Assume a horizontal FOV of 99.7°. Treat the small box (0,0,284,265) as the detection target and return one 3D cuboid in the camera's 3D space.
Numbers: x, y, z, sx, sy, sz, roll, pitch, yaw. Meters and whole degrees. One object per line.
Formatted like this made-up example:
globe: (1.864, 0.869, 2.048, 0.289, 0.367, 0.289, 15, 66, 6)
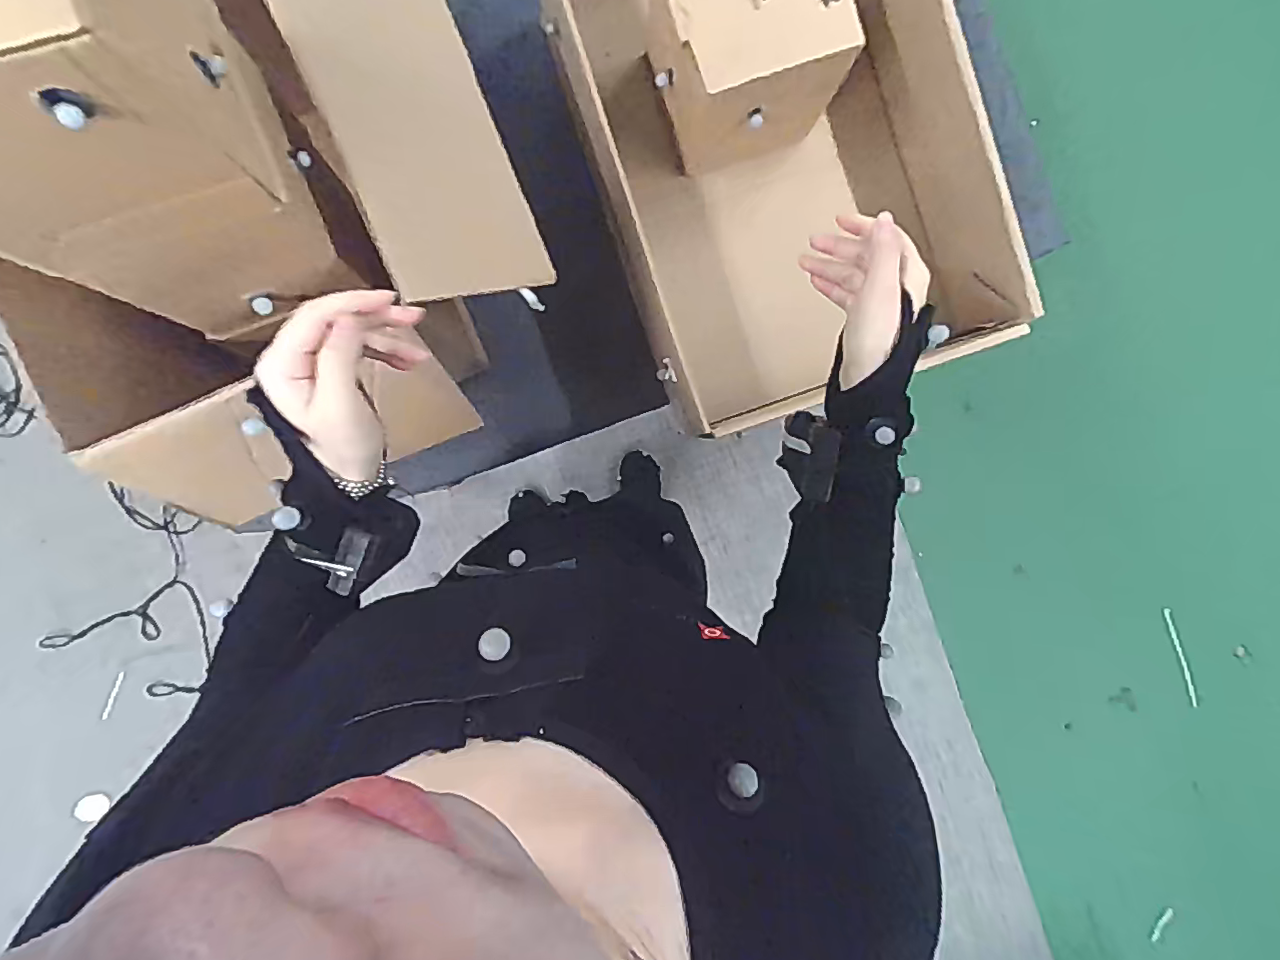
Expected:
small box: (-0.365, -0.254, 0.322, 0.179, 0.176, 0.168, -21, 93, -6)
